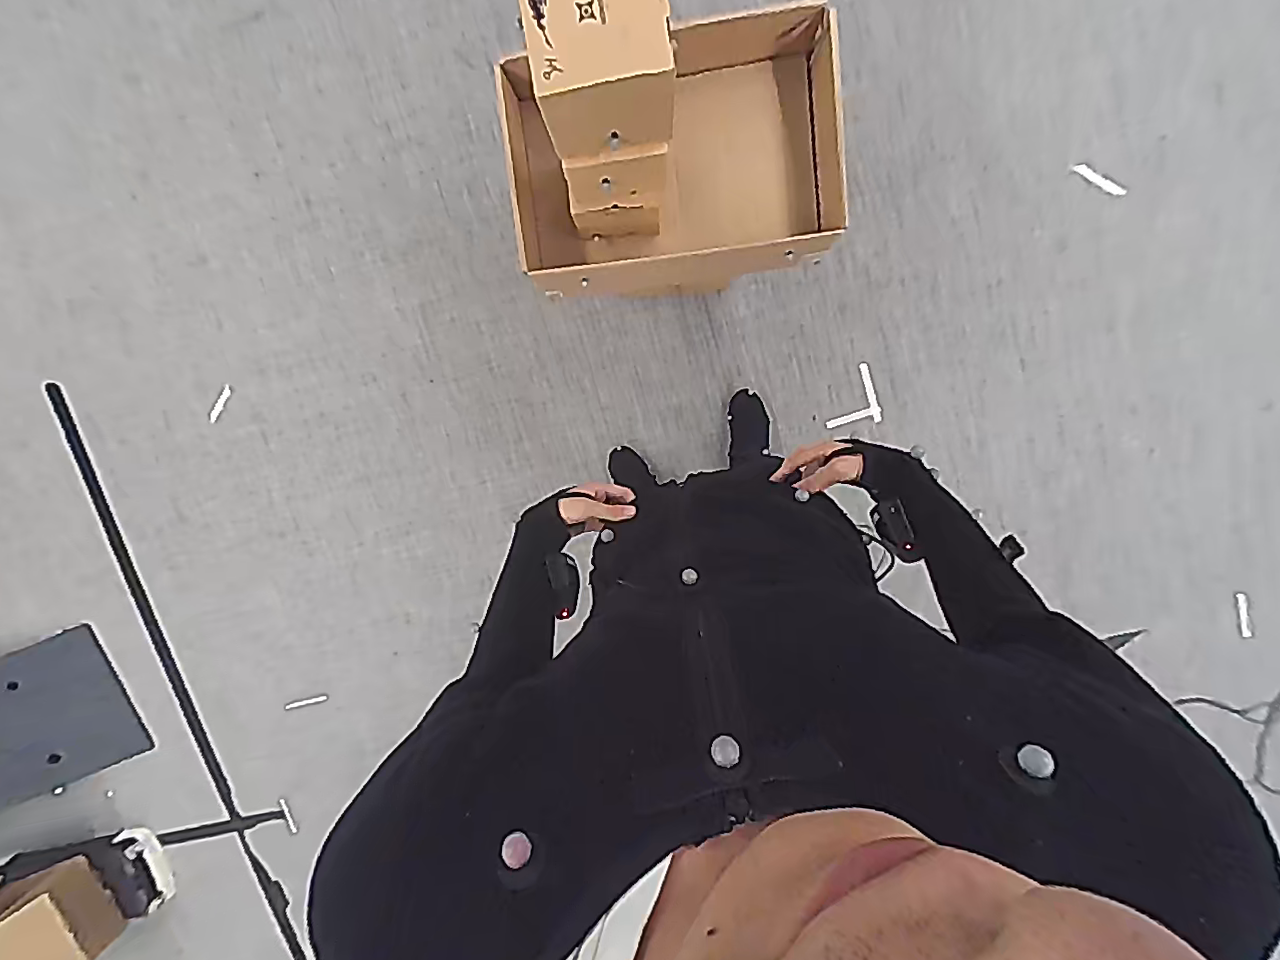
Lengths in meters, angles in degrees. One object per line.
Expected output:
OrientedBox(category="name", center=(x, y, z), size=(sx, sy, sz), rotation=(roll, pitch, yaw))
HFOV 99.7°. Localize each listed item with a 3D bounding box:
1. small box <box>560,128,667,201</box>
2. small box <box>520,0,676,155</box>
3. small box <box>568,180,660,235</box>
OrientedBox(category="small box", center=(-0.046, -0.580, 0.886), size=(0.168, 0.176, 0.179), rotation=(-7, 97, 3))
OrientedBox(category="small box", center=(-0.053, -0.568, 0.722), size=(0.179, 0.176, 0.168), rotation=(-8, 96, 2))
OrientedBox(category="small box", center=(-0.048, -0.590, 1.049), size=(0.168, 0.176, 0.179), rotation=(-4, 97, 2))
